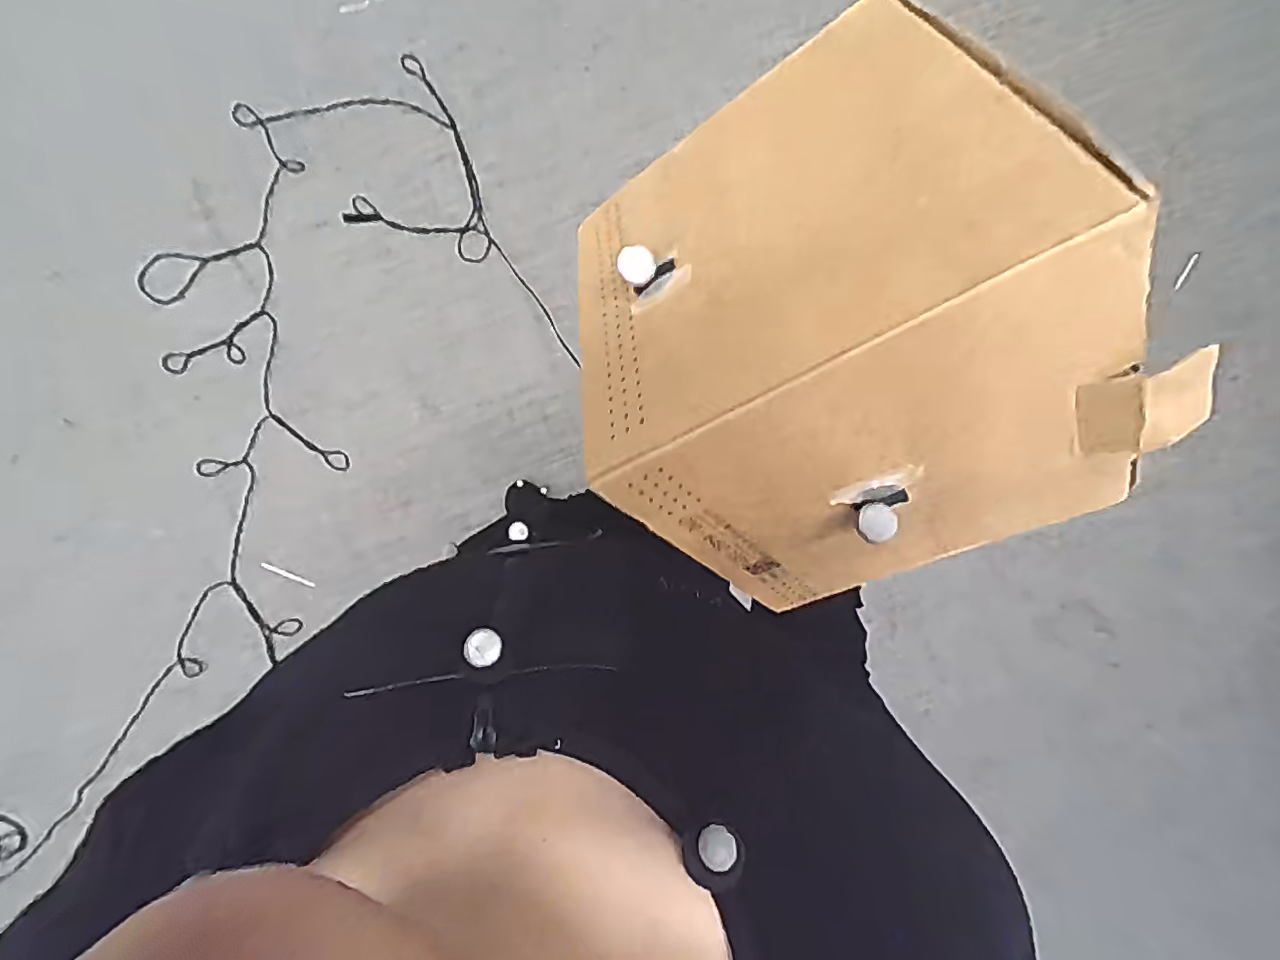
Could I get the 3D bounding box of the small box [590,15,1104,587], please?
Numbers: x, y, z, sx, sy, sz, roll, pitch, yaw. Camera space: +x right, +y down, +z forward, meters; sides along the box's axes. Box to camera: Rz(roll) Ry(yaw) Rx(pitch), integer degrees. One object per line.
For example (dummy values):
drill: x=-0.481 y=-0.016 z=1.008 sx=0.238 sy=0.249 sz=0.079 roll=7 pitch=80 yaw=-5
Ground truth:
small box: x=0.089 y=-0.065 z=0.274 sx=0.176 sy=0.168 sz=0.179 roll=-26 pitch=51 yaw=25
